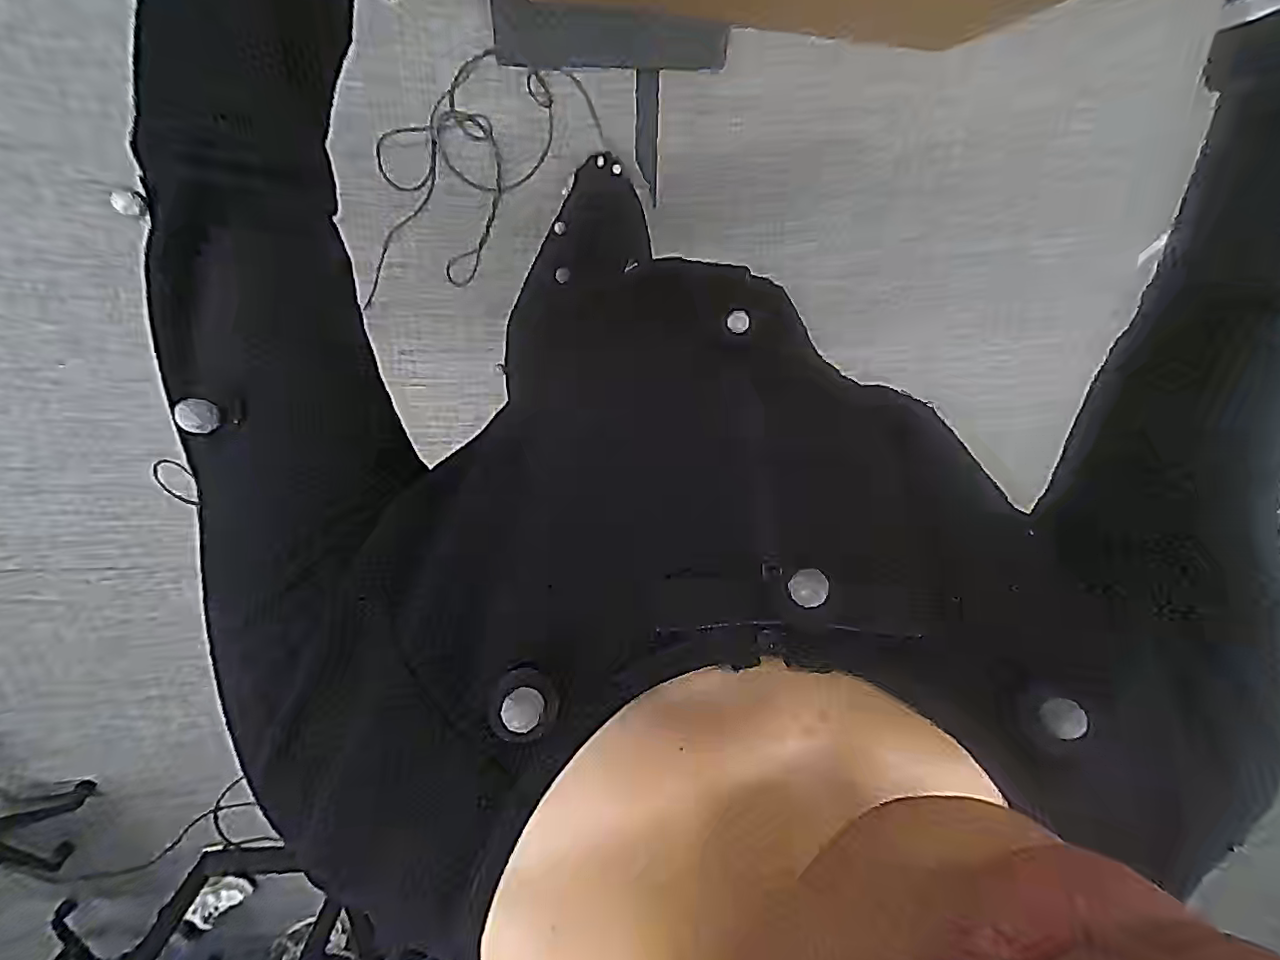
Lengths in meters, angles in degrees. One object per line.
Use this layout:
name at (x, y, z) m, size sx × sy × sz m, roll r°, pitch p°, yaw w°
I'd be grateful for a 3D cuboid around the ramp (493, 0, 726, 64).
ramp at (-0.056, -1.323, 0.902) m, size 0.509 × 0.206 × 0.991 m, roll -3°, pitch 113°, yaw -3°

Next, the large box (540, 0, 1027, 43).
large box at (0.113, -0.494, 0.307) m, size 0.408 × 0.320 × 0.320 m, roll 2°, pitch 118°, yaw -6°
